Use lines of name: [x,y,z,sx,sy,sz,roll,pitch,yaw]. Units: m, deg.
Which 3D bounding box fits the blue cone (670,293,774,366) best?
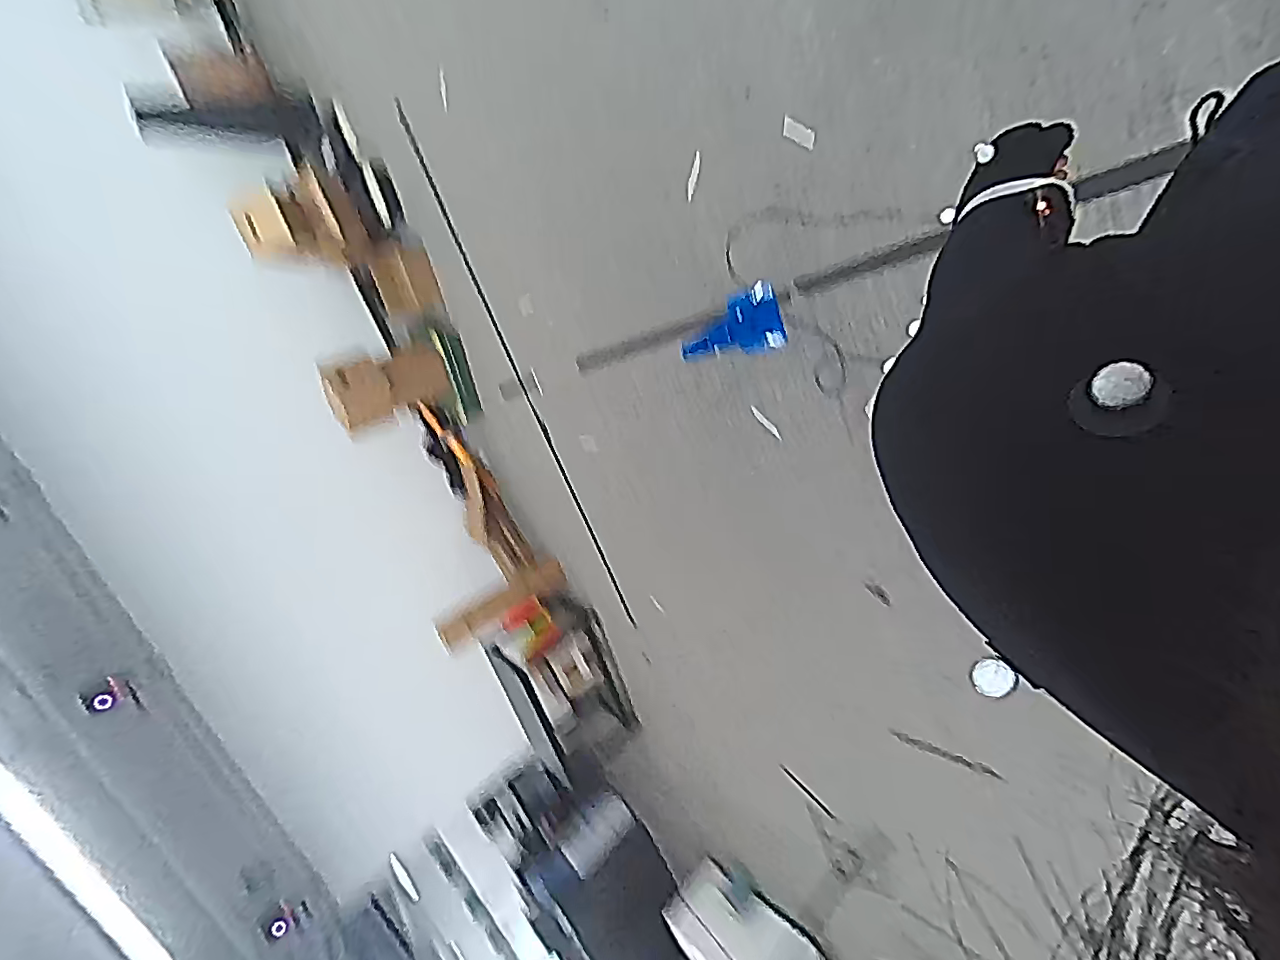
blue cone: [0.242,-0.444,1.722,0.192,0.380,0.193,-3,115,53]
